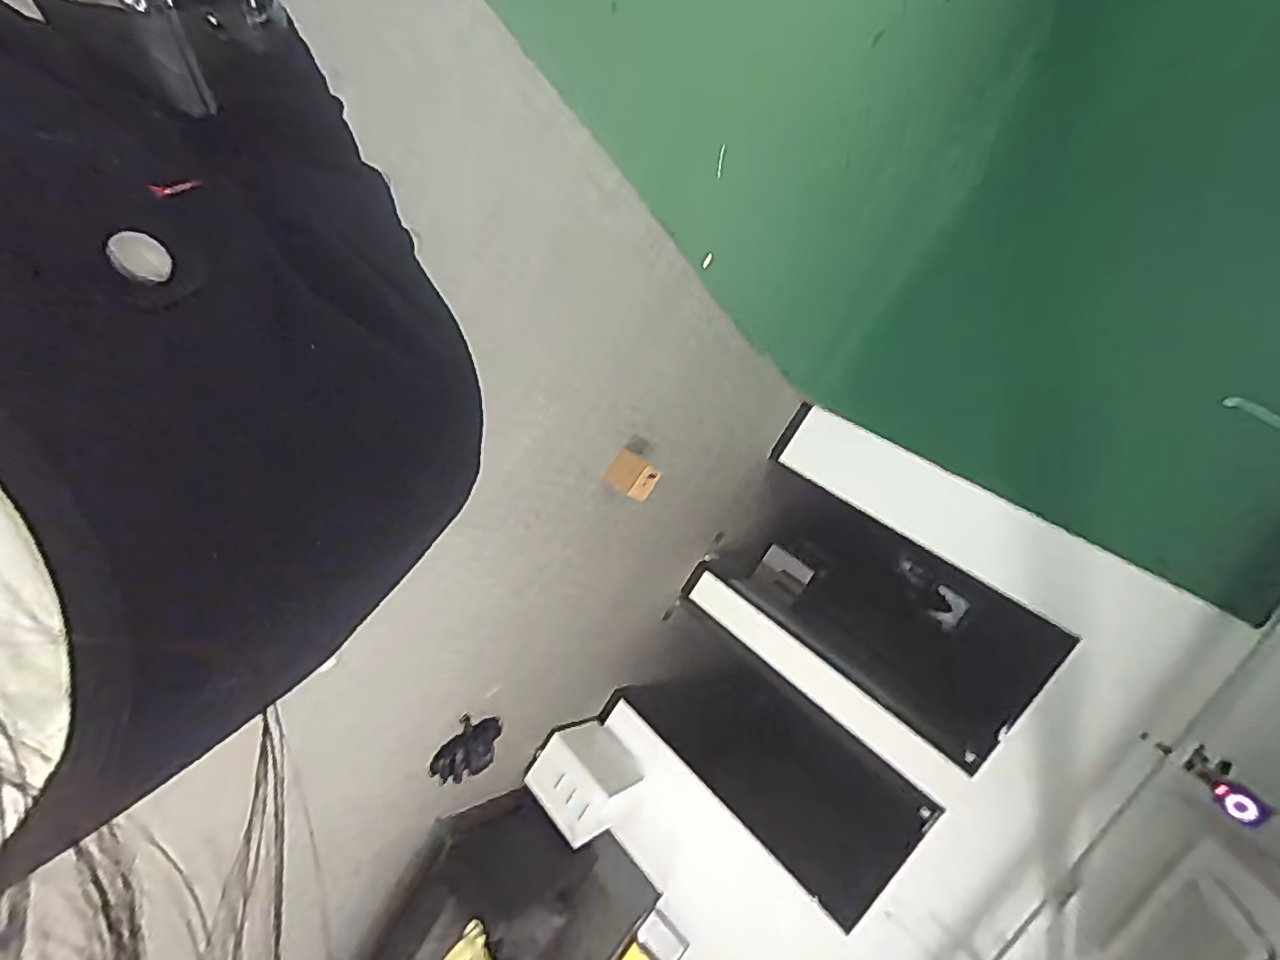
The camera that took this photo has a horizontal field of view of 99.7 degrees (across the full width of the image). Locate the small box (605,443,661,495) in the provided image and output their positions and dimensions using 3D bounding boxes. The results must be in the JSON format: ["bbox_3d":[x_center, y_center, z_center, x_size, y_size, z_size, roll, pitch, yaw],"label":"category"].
[{"bbox_3d":[-0.037,-0.054,2.596,0.179,0.176,0.168,-56,149,5],"label":"small box"}]
